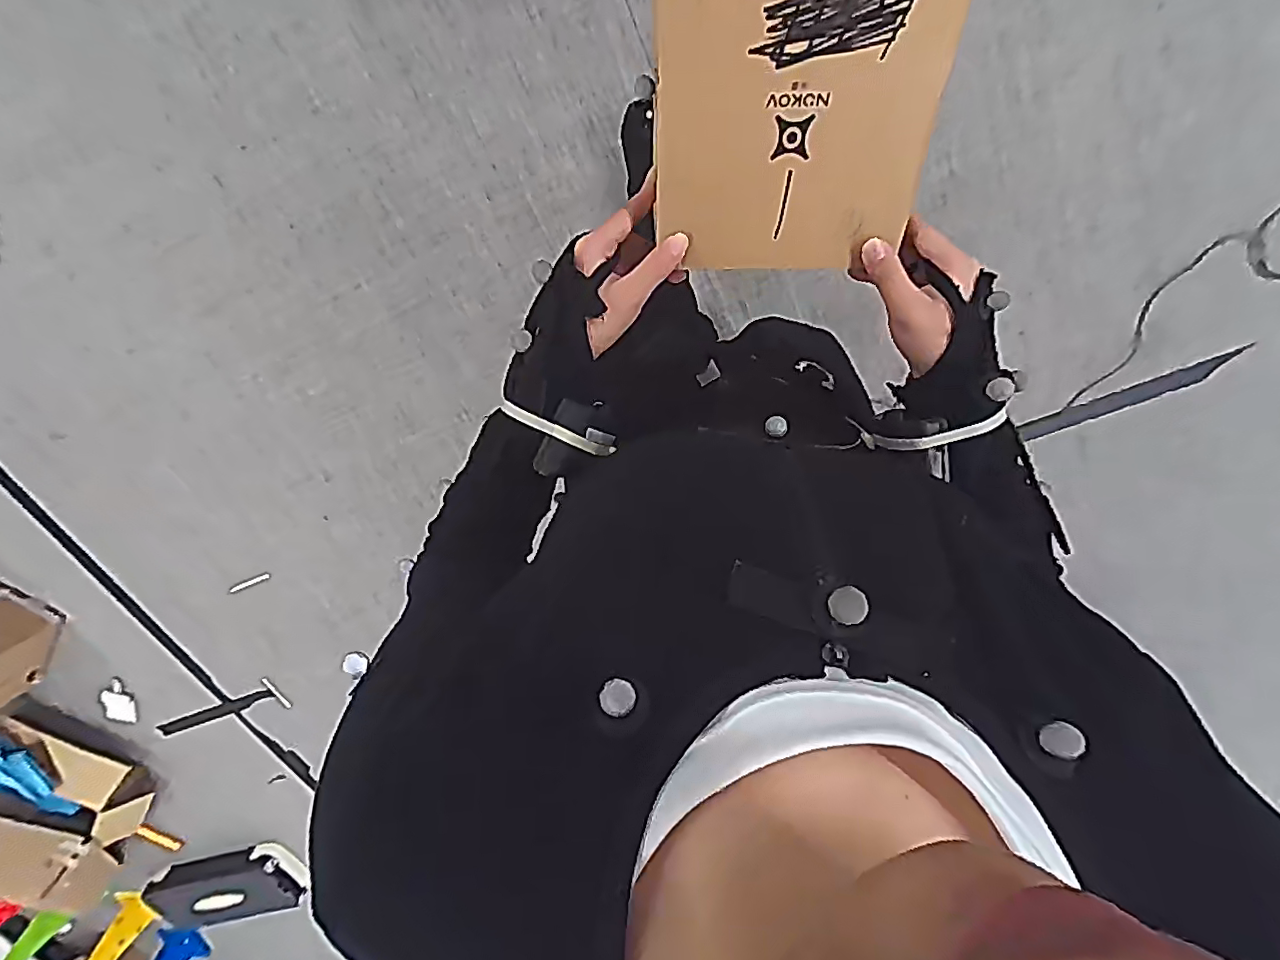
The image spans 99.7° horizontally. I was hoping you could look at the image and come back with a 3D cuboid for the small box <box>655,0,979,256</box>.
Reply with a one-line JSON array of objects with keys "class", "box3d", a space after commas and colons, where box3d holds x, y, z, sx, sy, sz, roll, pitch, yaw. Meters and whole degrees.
[{"class": "small box", "box3d": [0.095, -0.271, 0.371, 0.168, 0.176, 0.179, 0, 131, 1]}]
